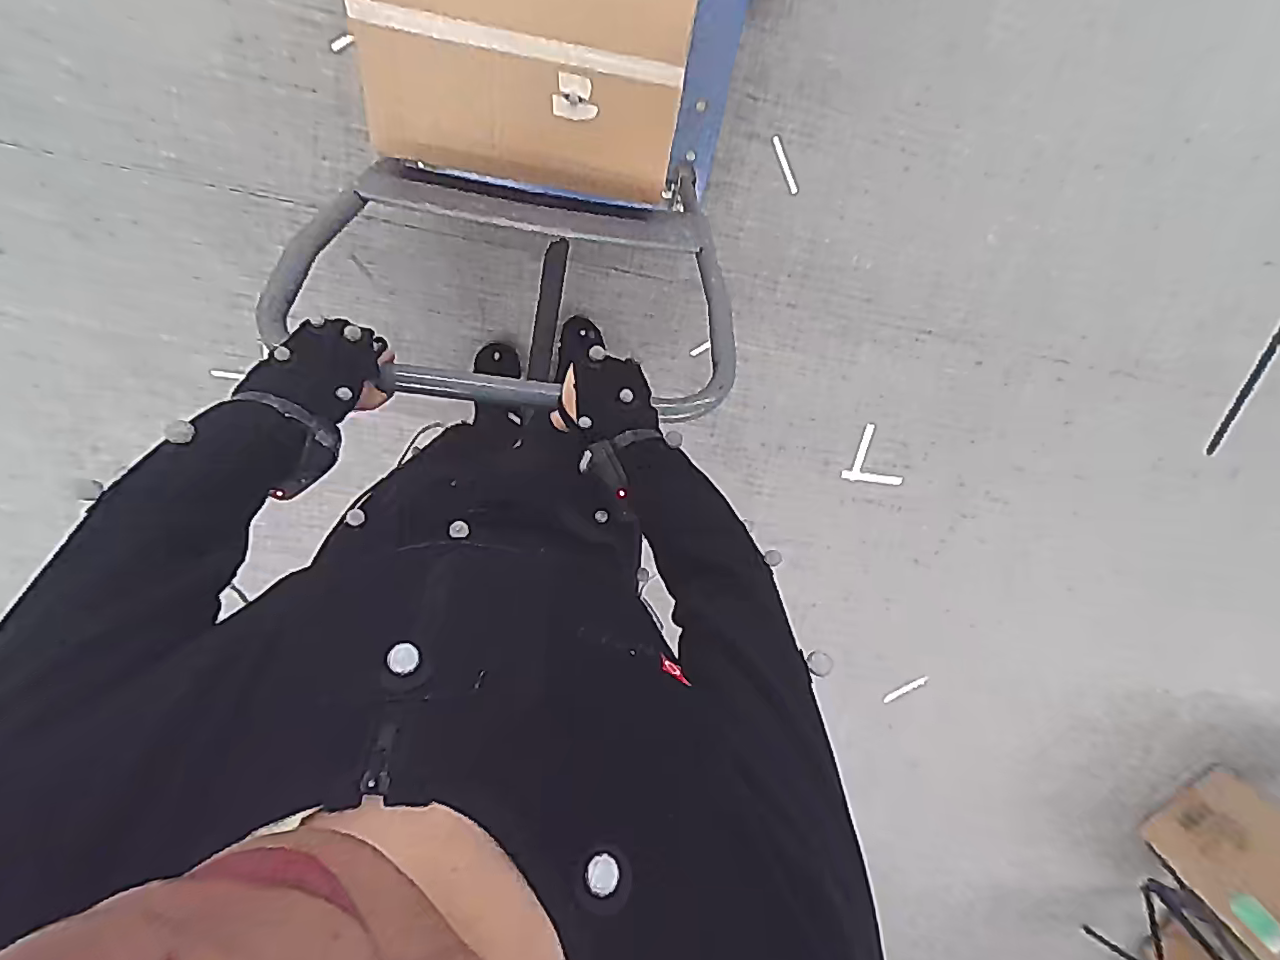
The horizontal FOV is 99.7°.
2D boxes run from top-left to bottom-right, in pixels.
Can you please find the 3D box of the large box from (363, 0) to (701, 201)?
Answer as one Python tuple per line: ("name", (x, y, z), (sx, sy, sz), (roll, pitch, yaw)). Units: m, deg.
("large box", (-0.144, -0.636, 0.781), (0.408, 0.320, 0.320), (5, 131, -9))
